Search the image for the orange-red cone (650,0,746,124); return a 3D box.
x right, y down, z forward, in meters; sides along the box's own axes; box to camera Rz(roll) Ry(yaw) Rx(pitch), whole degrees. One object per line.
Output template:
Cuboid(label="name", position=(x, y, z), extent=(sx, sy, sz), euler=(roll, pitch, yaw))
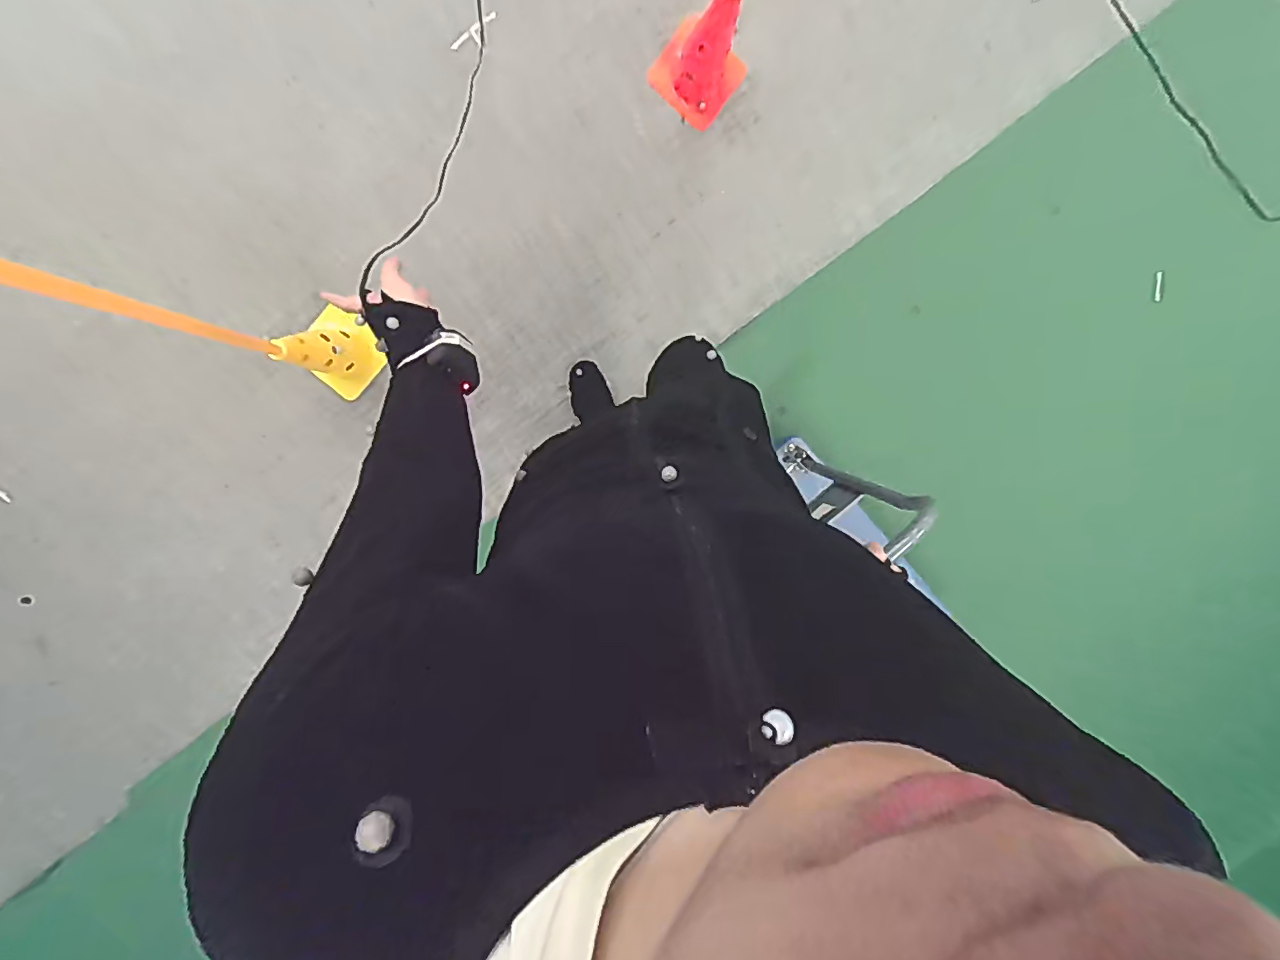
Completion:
Cuboid(label="orange-red cone", position=(0.171, -1.023, 1.229), extent=(0.198, 0.360, 0.199), euler=(38, 95, -14))
